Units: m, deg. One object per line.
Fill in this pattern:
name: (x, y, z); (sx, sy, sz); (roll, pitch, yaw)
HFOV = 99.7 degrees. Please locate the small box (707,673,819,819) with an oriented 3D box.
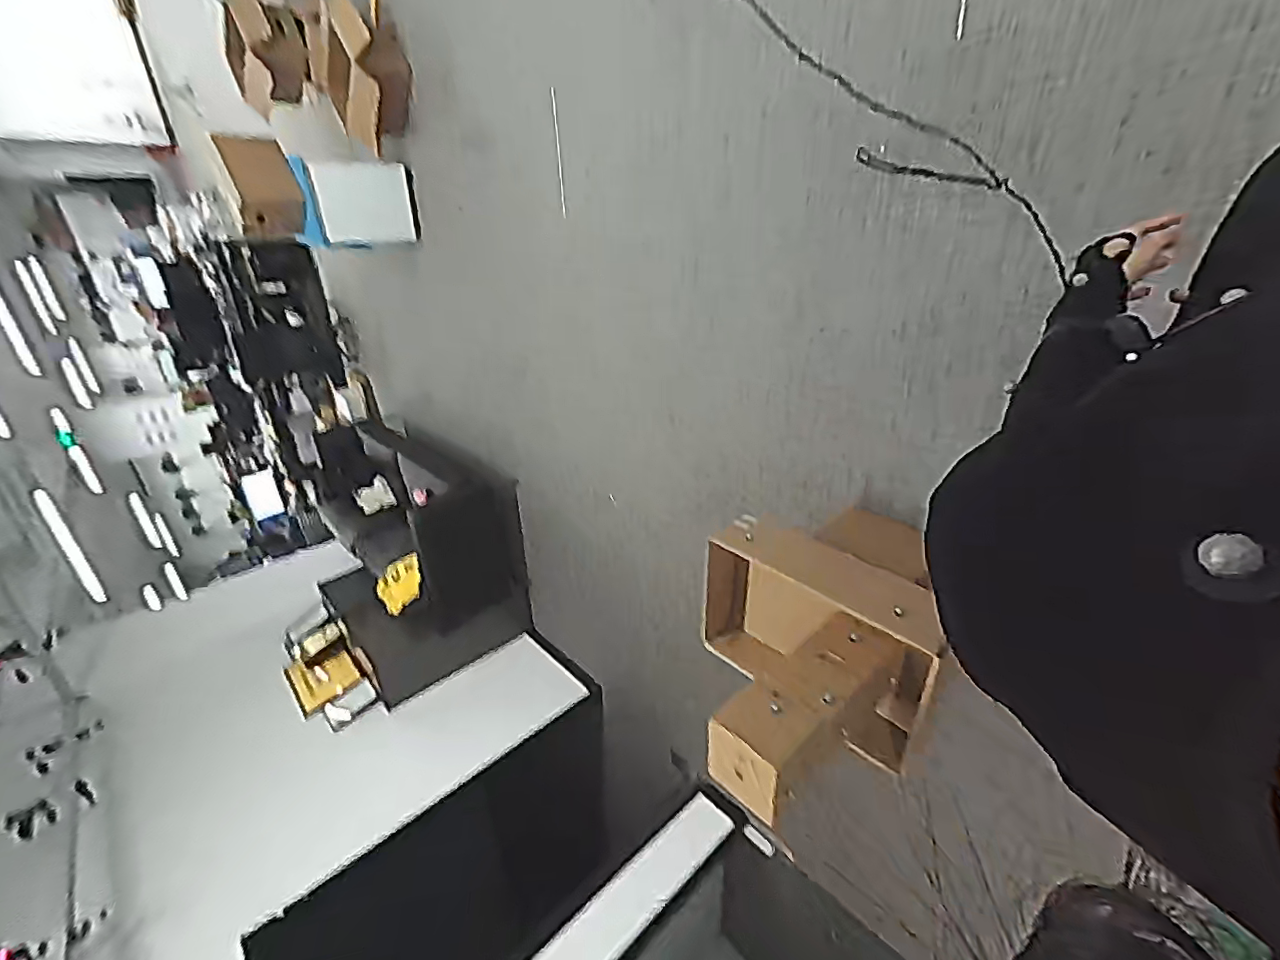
small box: (0.258, 0.548, 1.135); (0.168, 0.176, 0.179); (23, 125, 42)
